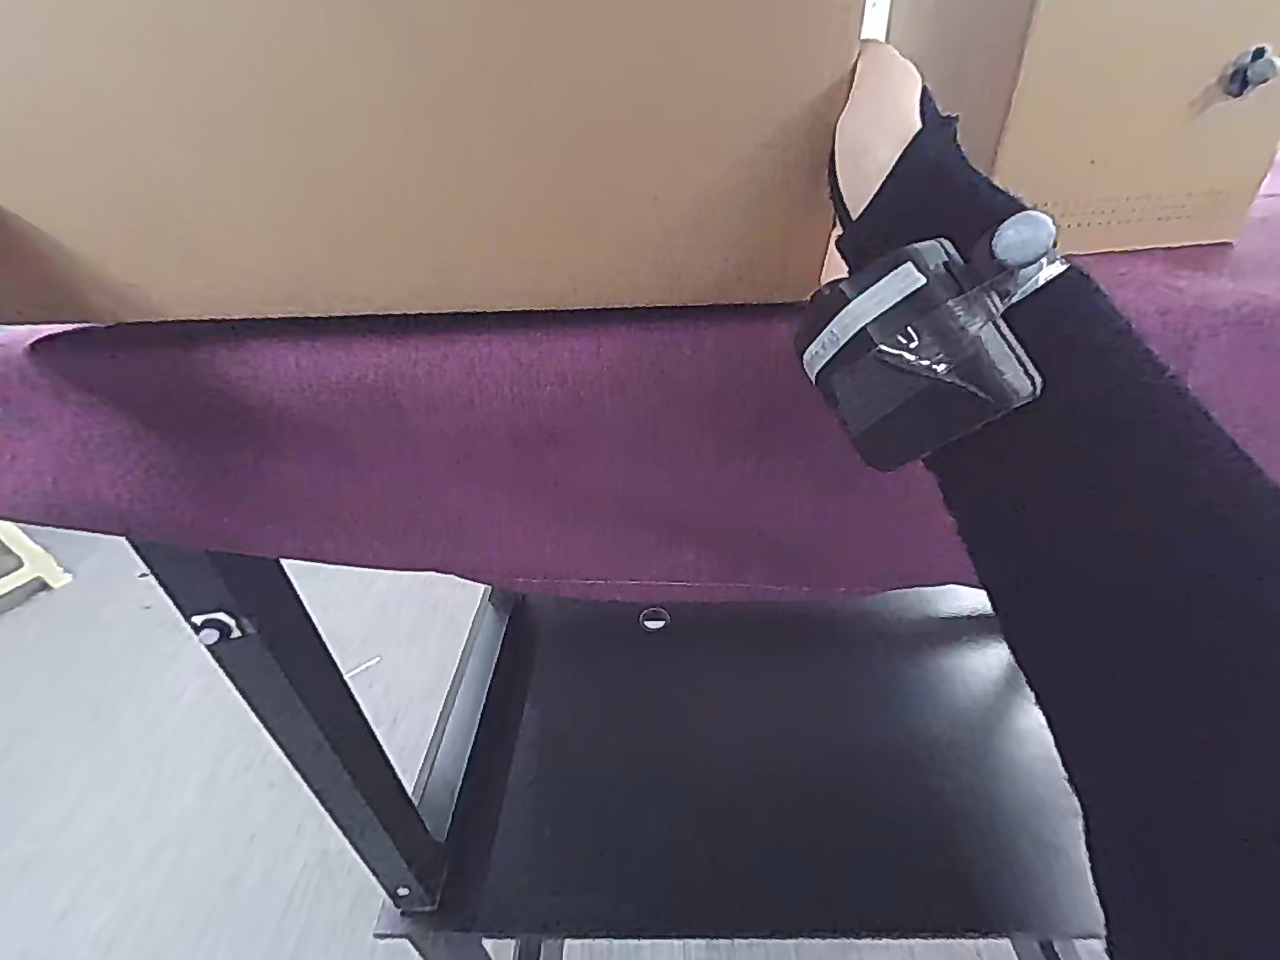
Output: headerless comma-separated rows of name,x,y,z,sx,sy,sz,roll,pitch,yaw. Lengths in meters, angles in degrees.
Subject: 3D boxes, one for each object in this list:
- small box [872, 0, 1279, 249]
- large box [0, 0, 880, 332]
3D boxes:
small box,0.282,-0.261,0.360,0.179,0.176,0.168,-6,31,-1
large box,-0.115,-0.286,0.298,0.408,0.320,0.320,-3,32,1
